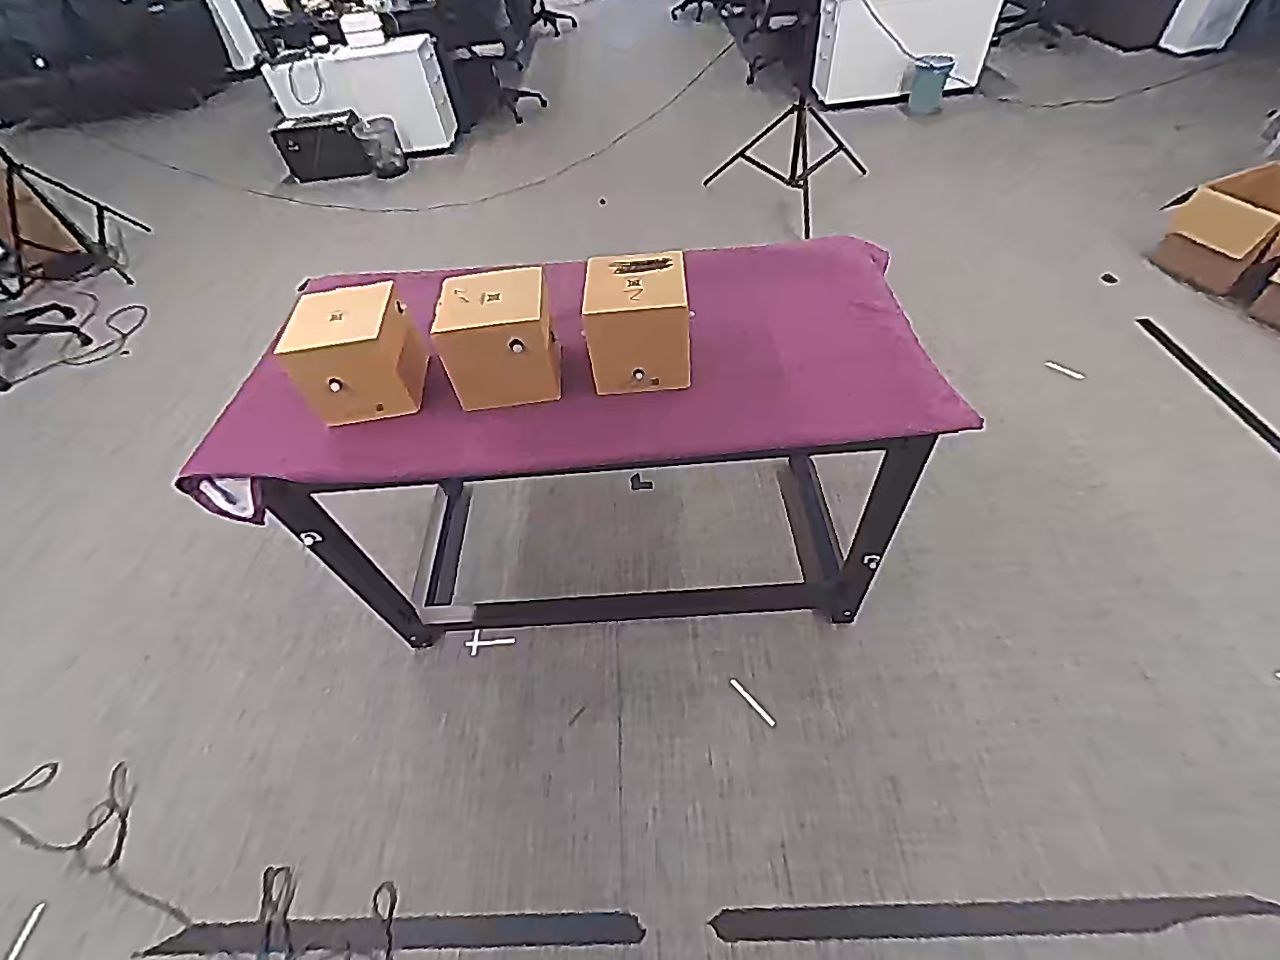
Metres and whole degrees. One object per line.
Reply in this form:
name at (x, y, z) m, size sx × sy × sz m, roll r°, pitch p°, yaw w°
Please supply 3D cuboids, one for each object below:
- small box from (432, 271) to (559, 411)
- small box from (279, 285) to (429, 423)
small box at (-0.240, -0.242, 0.954) m, size 0.179 × 0.176 × 0.168 m, roll -7°, pitch 49°, yaw 0°
small box at (-0.495, -0.217, 0.967) m, size 0.168 × 0.176 × 0.179 m, roll -10°, pitch 49°, yaw -2°
